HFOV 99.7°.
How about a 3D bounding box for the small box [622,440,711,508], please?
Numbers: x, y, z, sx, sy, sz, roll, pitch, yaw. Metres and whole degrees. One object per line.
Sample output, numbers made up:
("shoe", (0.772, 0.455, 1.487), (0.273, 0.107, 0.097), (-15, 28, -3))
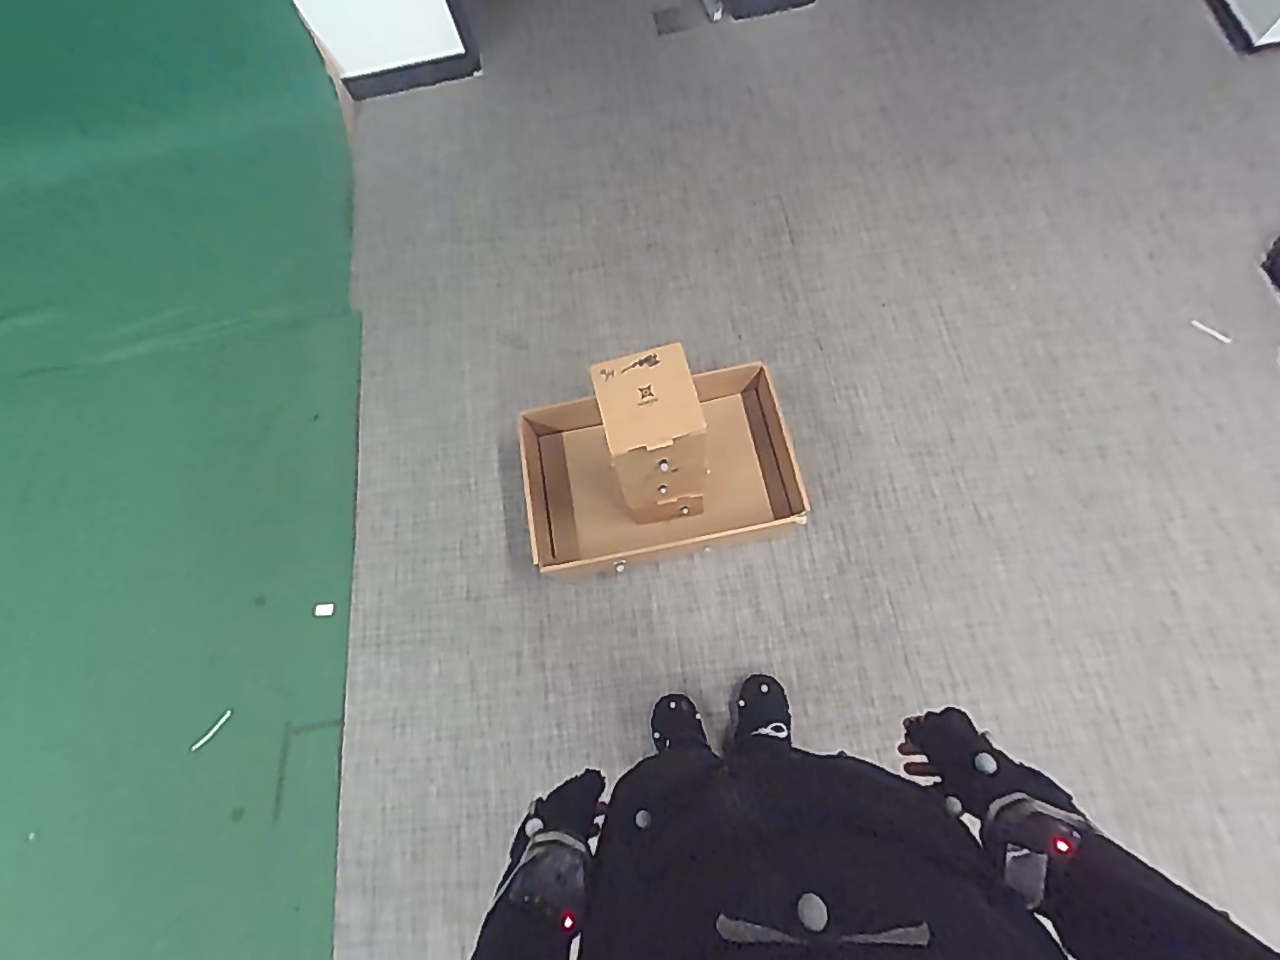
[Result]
("small box", (0.040, -0.055, 1.139), (0.179, 0.176, 0.168), (-15, 71, 0))

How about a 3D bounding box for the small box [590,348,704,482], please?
("small box", (0.019, -0.107, 0.985), (0.168, 0.176, 0.179), (-14, 71, 2))

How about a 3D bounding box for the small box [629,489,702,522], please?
("small box", (0.054, -0.006, 1.294), (0.168, 0.176, 0.179), (-10, 70, 2))
